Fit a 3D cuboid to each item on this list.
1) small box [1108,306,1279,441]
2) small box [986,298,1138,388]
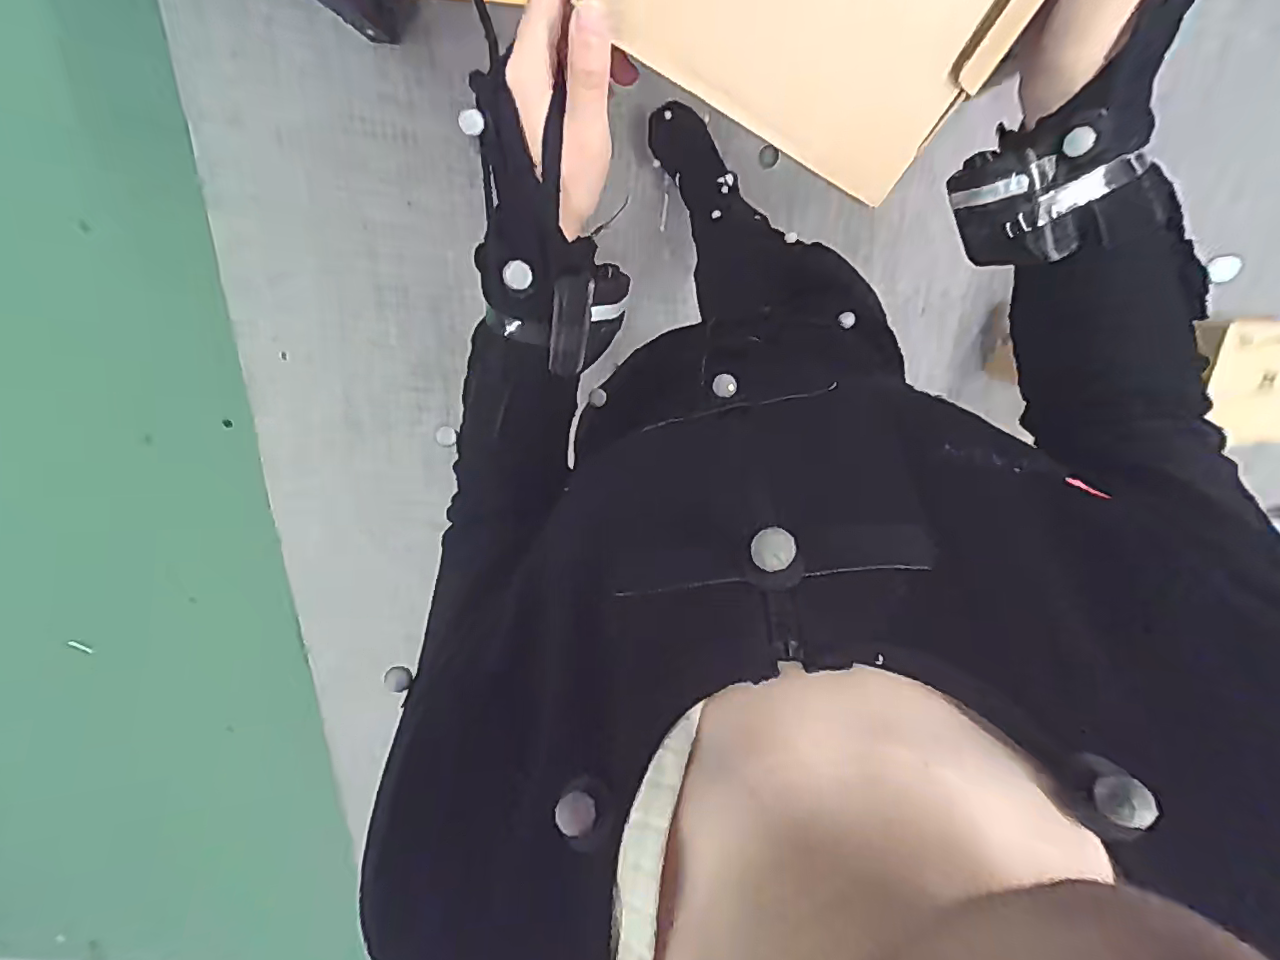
[{"bbox_3d":[0.890,-0.170,0.841,0.168,0.176,0.179,0,113,1],"label":"small box"},{"bbox_3d":[0.881,-0.294,1.146,0.179,0.176,0.168,-1,111,3],"label":"small box"}]
